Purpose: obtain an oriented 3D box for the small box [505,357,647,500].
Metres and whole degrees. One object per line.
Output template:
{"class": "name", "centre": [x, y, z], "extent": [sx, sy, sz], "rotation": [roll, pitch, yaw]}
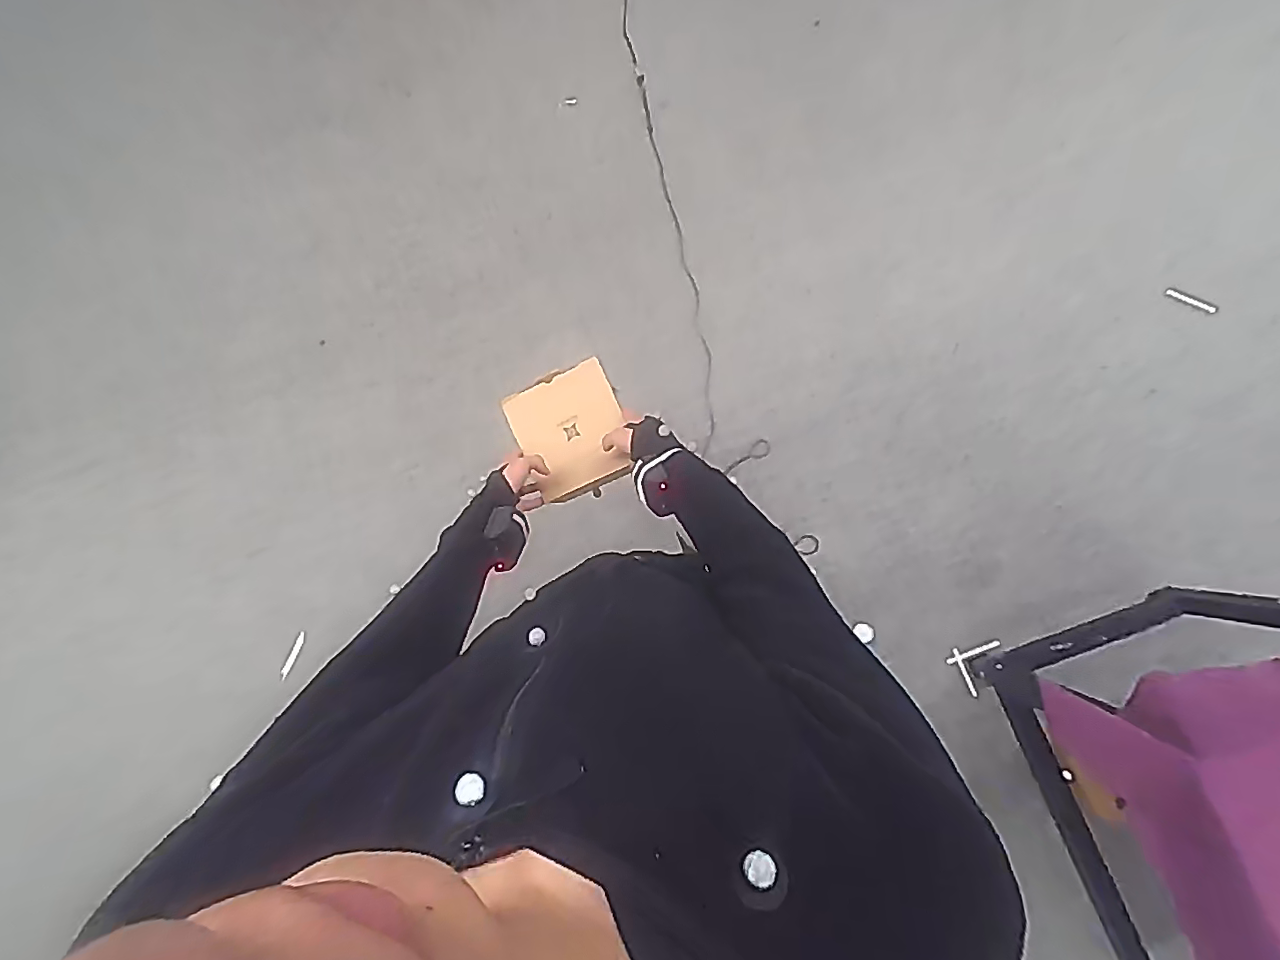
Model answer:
{"class": "small box", "centre": [-0.097, -0.075, 0.895], "extent": [0.168, 0.176, 0.179], "rotation": [-24, 87, 2]}
